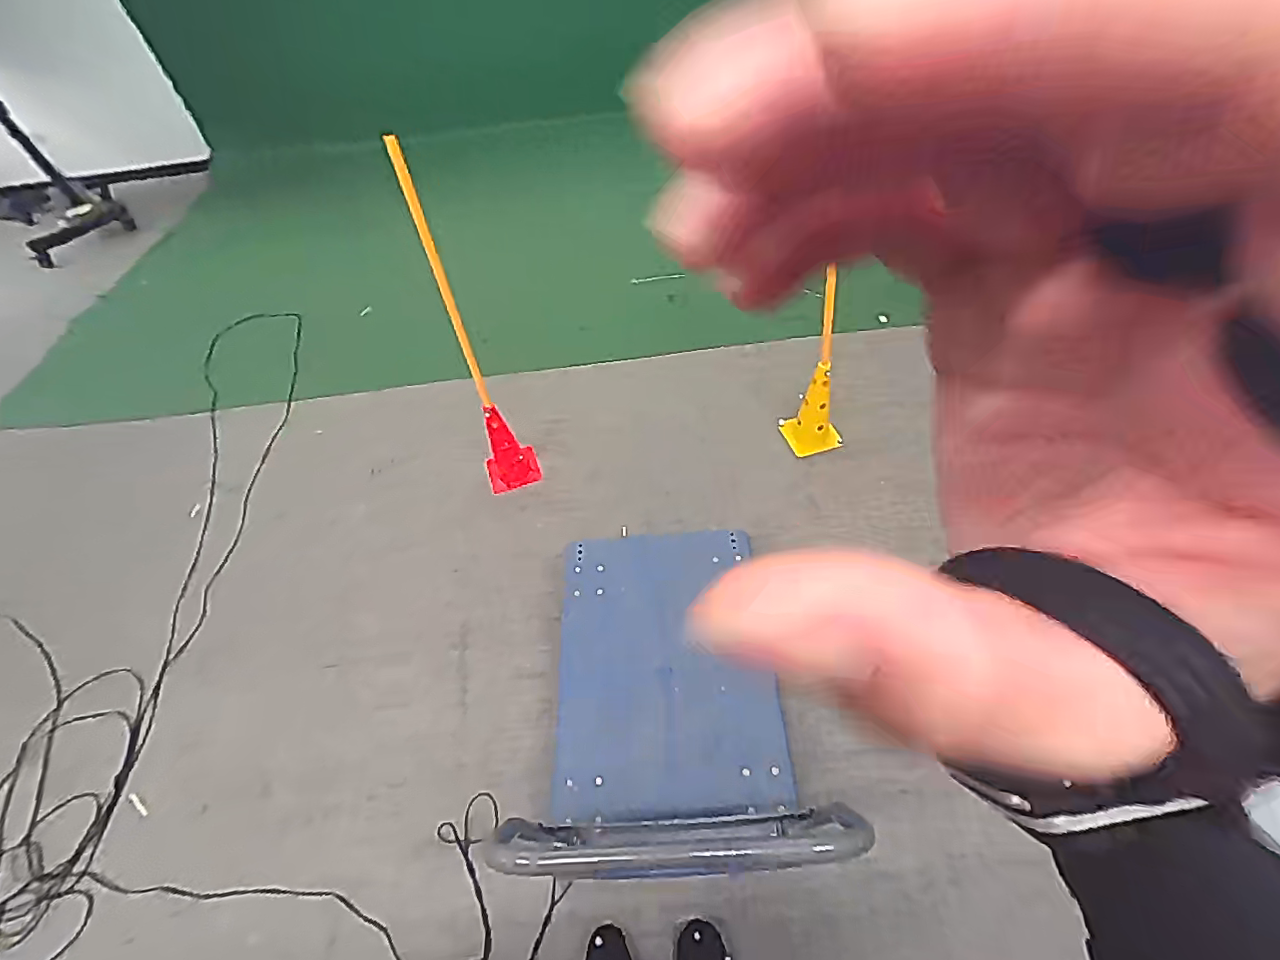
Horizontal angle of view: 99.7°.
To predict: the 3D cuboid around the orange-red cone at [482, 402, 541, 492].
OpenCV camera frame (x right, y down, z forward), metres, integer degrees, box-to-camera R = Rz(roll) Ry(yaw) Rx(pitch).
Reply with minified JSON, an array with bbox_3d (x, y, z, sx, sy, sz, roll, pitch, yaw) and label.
[{"bbox_3d":[-0.520,-0.149,2.022,0.199,0.360,0.198,-19,51,-7],"label":"orange-red cone"}]
